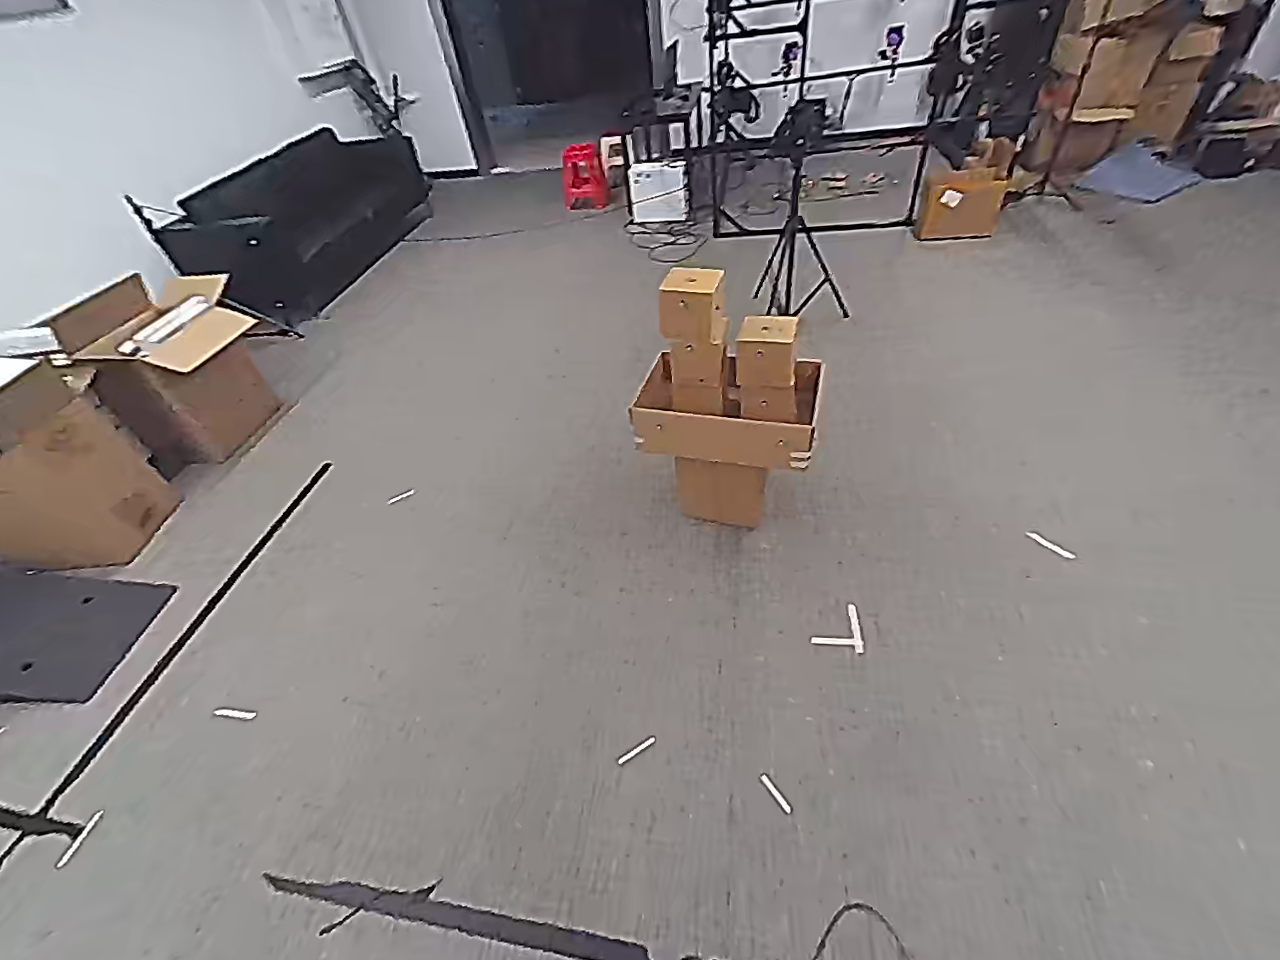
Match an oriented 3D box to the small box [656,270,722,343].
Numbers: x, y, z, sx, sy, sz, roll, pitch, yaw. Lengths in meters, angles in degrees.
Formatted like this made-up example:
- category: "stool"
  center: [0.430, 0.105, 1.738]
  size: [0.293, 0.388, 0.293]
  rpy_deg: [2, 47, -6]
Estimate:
- category: "small box"
  center: [0.160, -0.555, 1.735]
  size: [0.179, 0.176, 0.168]
  rpy_deg: [9, 46, 16]
